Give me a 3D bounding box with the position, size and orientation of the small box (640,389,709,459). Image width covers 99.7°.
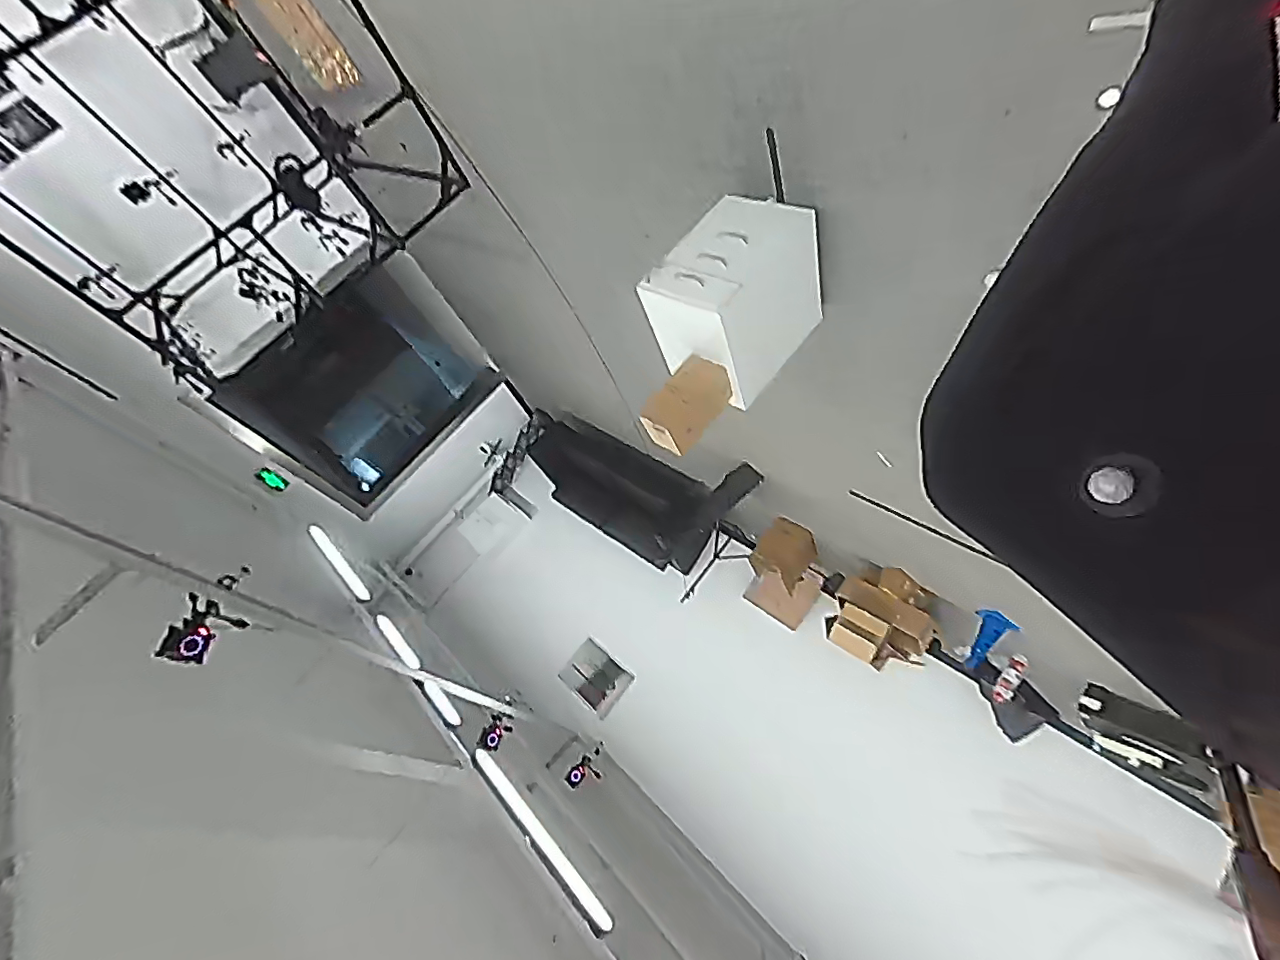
[{"bbox_3d":[0.135,-0.216,2.054,0.168,0.176,0.179,32,166,38],"label":"small box"}]

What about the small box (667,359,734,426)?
[{"bbox_3d":[0.237,-0.341,2.086,0.179,0.176,0.168,32,165,34],"label":"small box"}]
